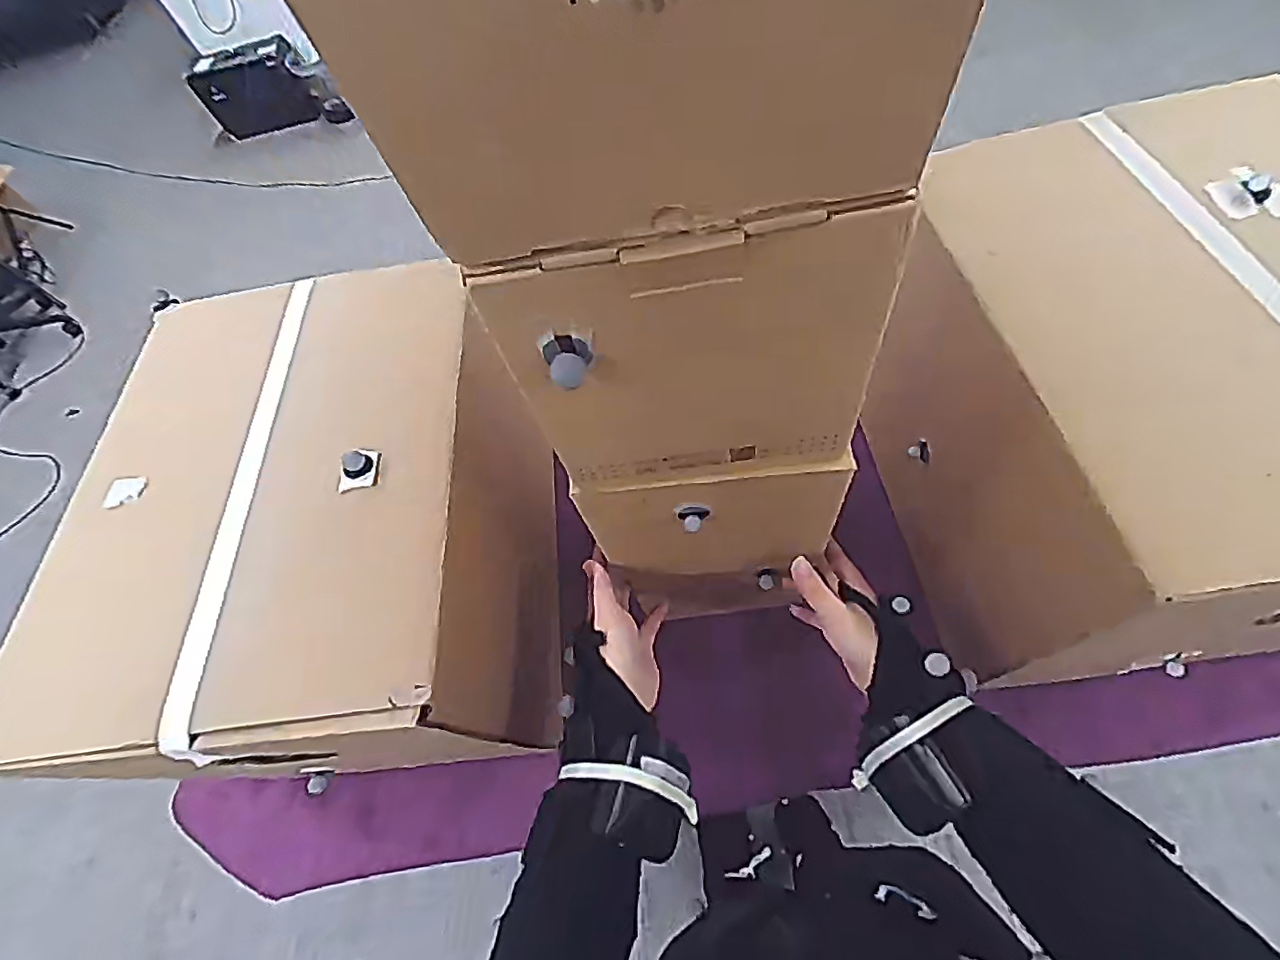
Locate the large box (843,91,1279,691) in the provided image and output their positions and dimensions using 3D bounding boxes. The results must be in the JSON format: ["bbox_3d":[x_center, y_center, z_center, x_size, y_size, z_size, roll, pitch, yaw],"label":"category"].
[{"bbox_3d":[0.417,-0.061,0.495,0.320,0.320,0.408,-10,58,4],"label":"large box"}]
